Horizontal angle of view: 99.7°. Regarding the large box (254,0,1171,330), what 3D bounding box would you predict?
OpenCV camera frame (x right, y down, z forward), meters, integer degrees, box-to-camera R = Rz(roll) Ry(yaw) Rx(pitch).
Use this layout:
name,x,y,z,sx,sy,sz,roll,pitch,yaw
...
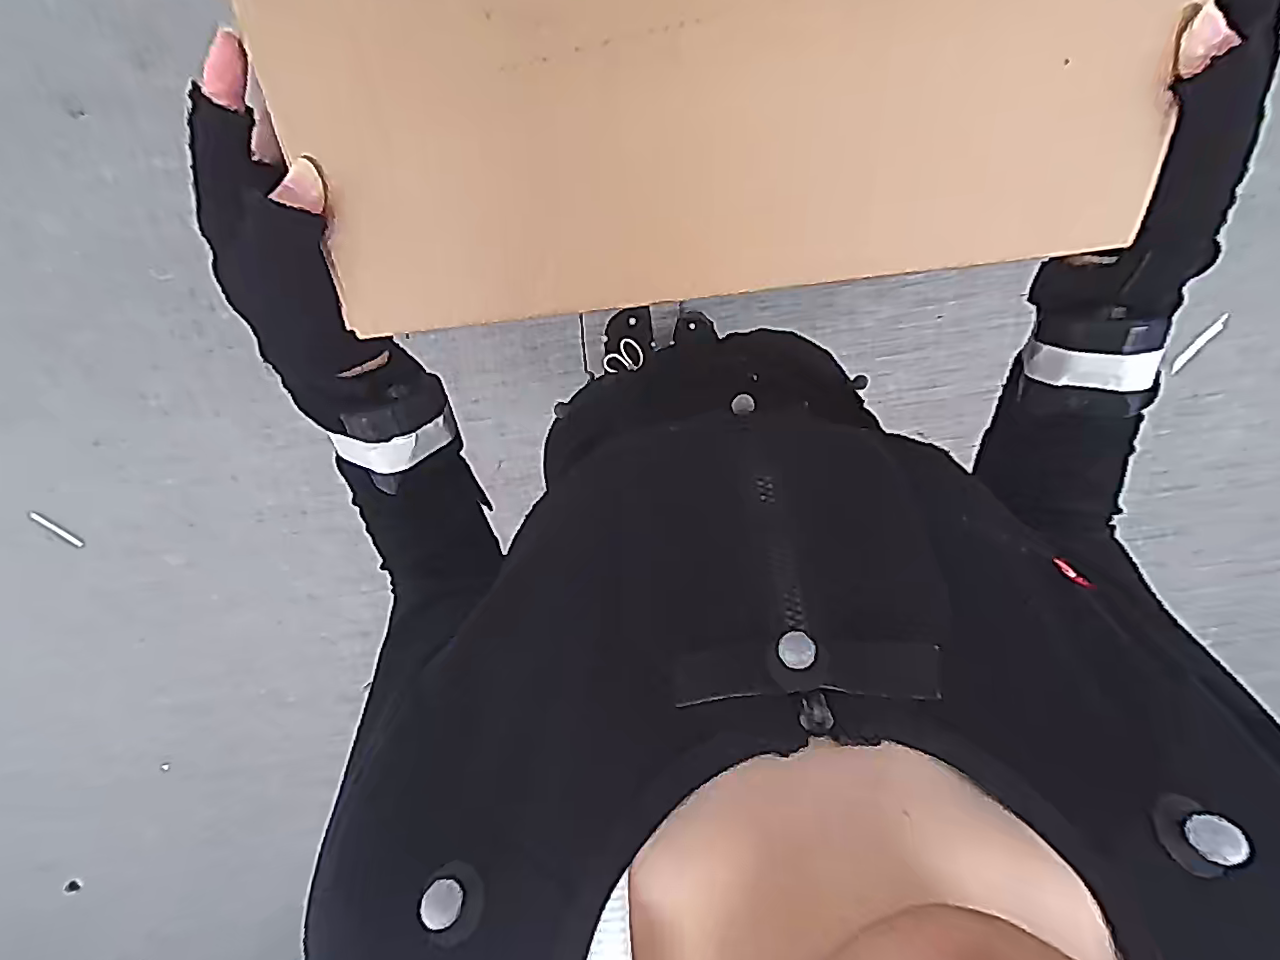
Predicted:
name,x,y,z,sx,sy,sz,roll,pitch,yaw
large box,0.025,-0.310,0.349,0.408,0.320,0.320,-6,120,2
